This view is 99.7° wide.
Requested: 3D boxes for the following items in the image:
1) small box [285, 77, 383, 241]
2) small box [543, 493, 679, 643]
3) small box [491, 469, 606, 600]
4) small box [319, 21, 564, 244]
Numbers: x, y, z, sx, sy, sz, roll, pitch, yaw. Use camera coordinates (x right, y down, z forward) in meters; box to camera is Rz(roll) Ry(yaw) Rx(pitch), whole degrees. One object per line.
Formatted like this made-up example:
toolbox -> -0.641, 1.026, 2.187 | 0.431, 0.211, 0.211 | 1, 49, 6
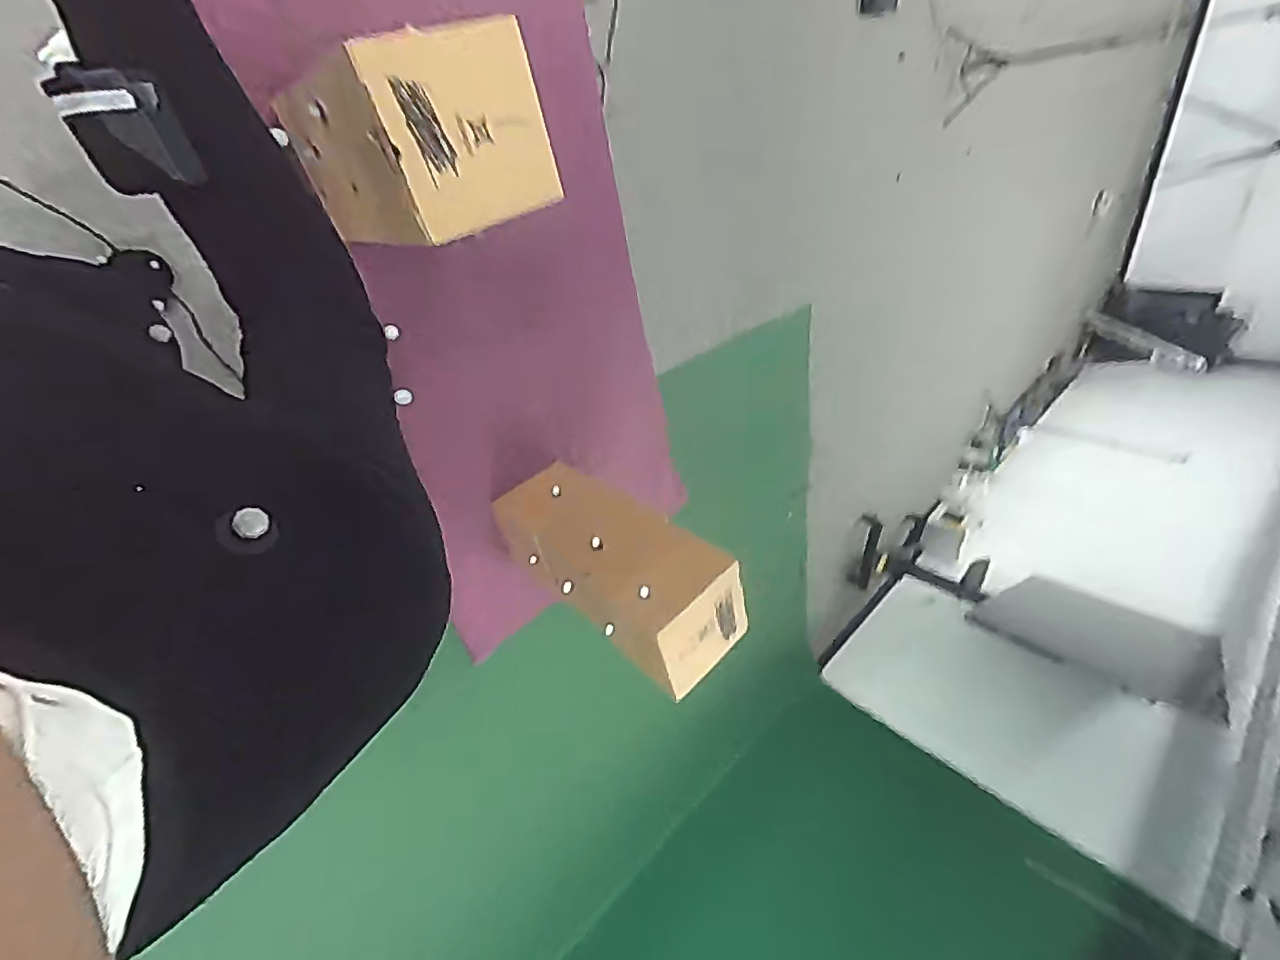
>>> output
small box -> -0.325, -0.419, 0.701 | 0.179, 0.176, 0.168 | -36, 130, -27
small box -> -0.057, 0.151, 0.981 | 0.179, 0.176, 0.168 | -34, 129, -30
small box -> -0.167, 0.101, 1.093 | 0.179, 0.176, 0.168 | -35, 129, -29
small box -> -0.217, -0.365, 0.588 | 0.179, 0.176, 0.168 | -36, 131, -28
